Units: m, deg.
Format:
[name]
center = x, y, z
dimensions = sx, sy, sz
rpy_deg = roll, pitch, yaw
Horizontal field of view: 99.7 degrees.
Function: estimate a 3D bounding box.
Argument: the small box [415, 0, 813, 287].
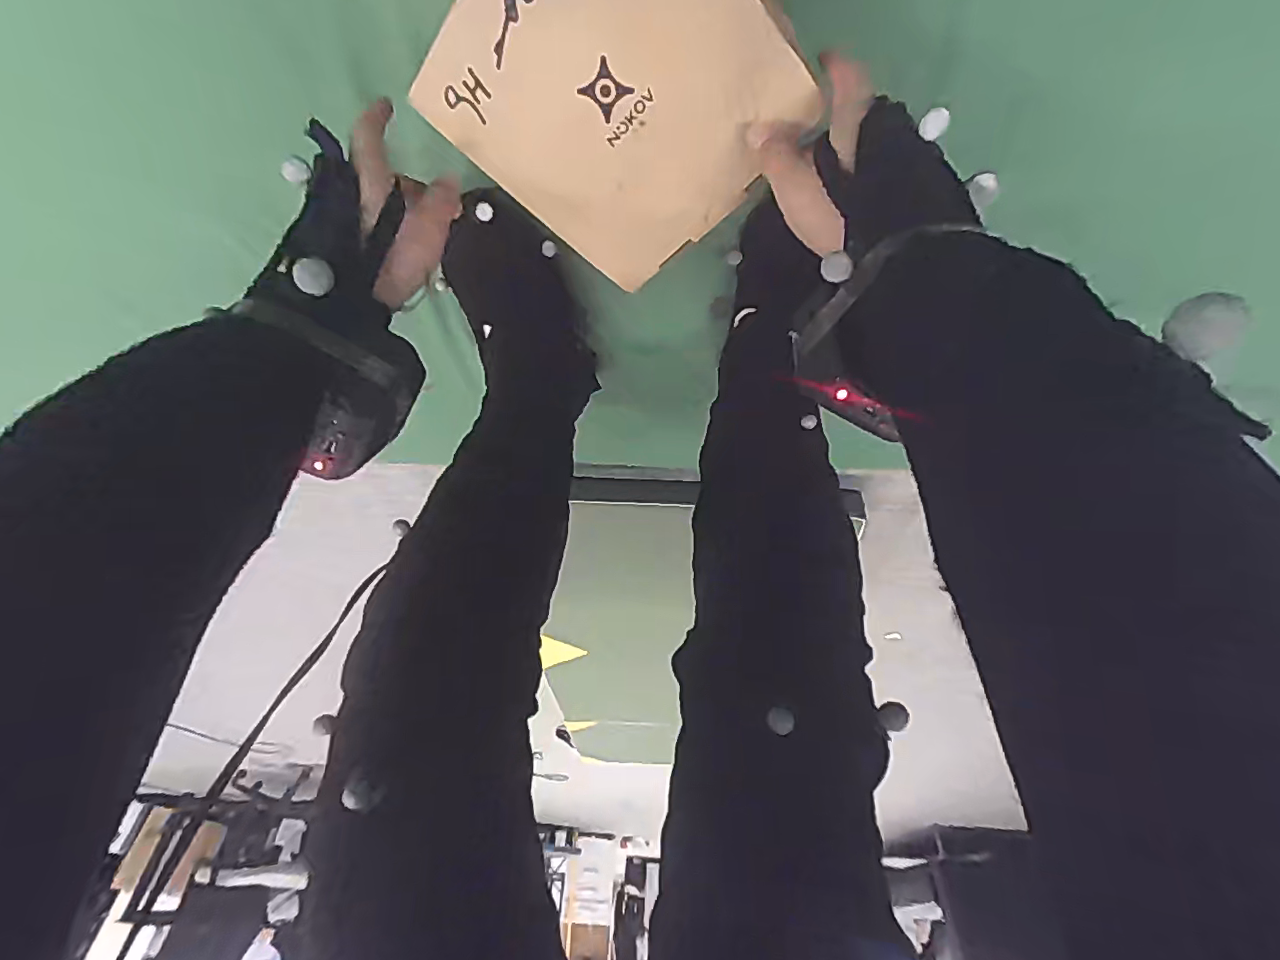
[small box]
center = -0.011, -0.278, 0.362
dimensions = 0.179, 0.176, 0.168
rpy_deg = 32, 133, -32
